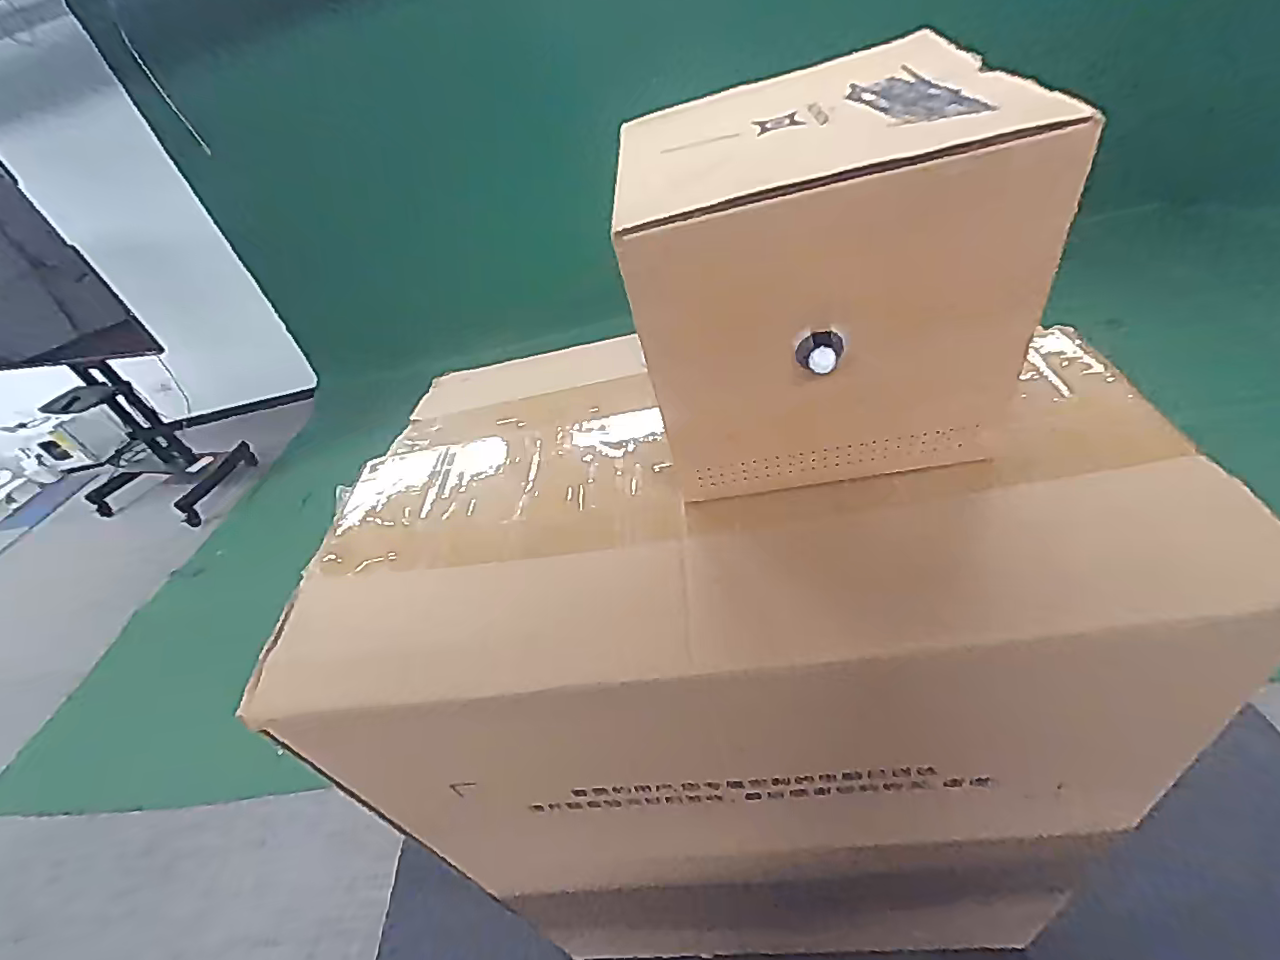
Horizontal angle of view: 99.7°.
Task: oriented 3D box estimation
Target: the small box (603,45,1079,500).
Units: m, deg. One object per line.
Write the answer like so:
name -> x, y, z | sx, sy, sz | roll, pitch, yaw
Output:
small box -> 0.089, -0.109, 0.311 | 0.179, 0.176, 0.168 | -9, 45, 11
